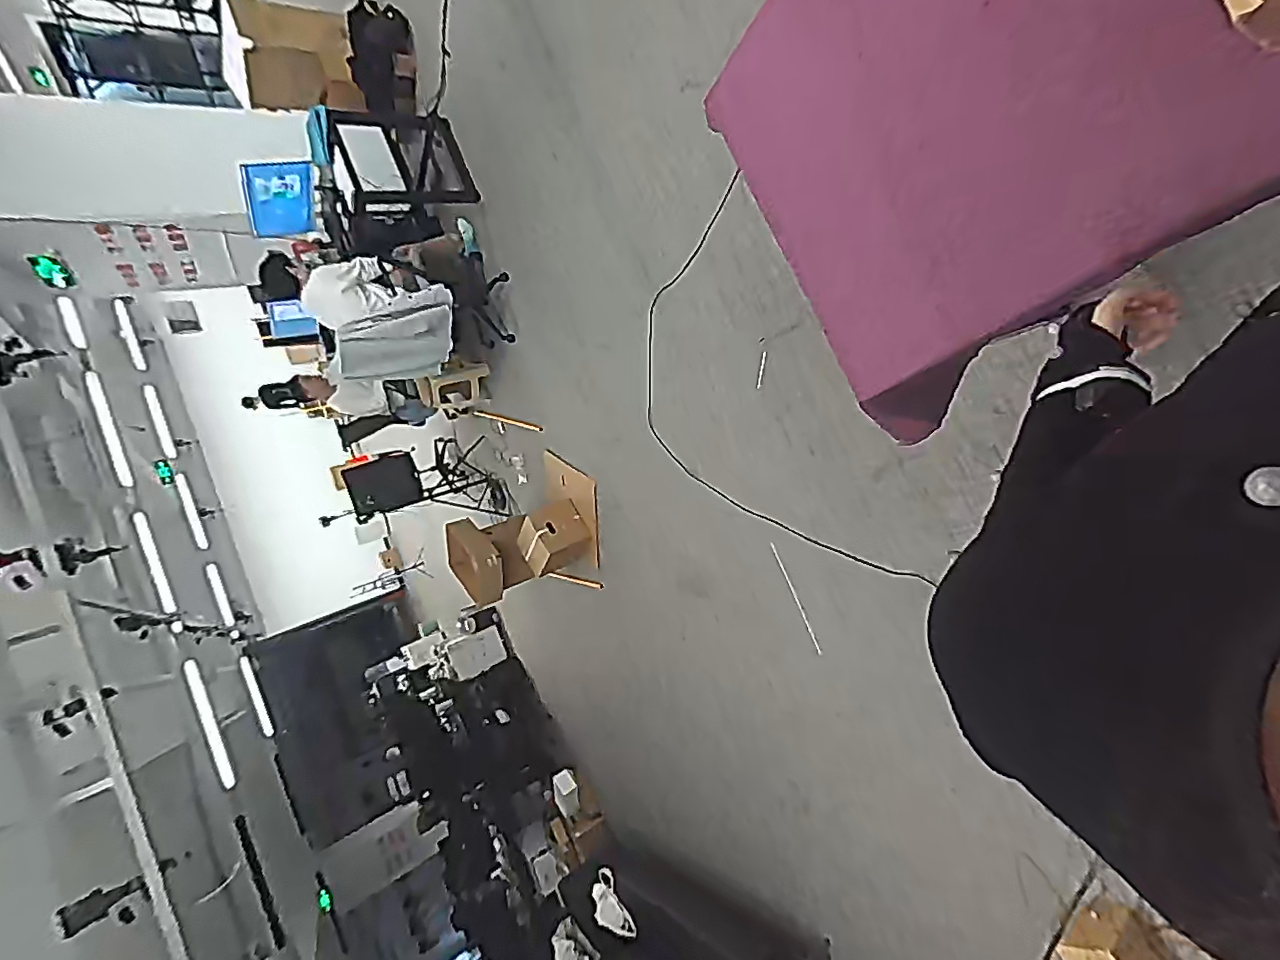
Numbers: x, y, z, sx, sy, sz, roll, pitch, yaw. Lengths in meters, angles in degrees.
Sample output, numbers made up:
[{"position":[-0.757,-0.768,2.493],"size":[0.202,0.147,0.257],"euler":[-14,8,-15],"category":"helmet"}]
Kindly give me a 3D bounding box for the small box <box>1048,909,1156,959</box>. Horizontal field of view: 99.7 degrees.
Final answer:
[{"position":[1.279,1.325,1.471],"size":[0.179,0.176,0.168],"euler":[58,145,20],"category":"small box"}]
